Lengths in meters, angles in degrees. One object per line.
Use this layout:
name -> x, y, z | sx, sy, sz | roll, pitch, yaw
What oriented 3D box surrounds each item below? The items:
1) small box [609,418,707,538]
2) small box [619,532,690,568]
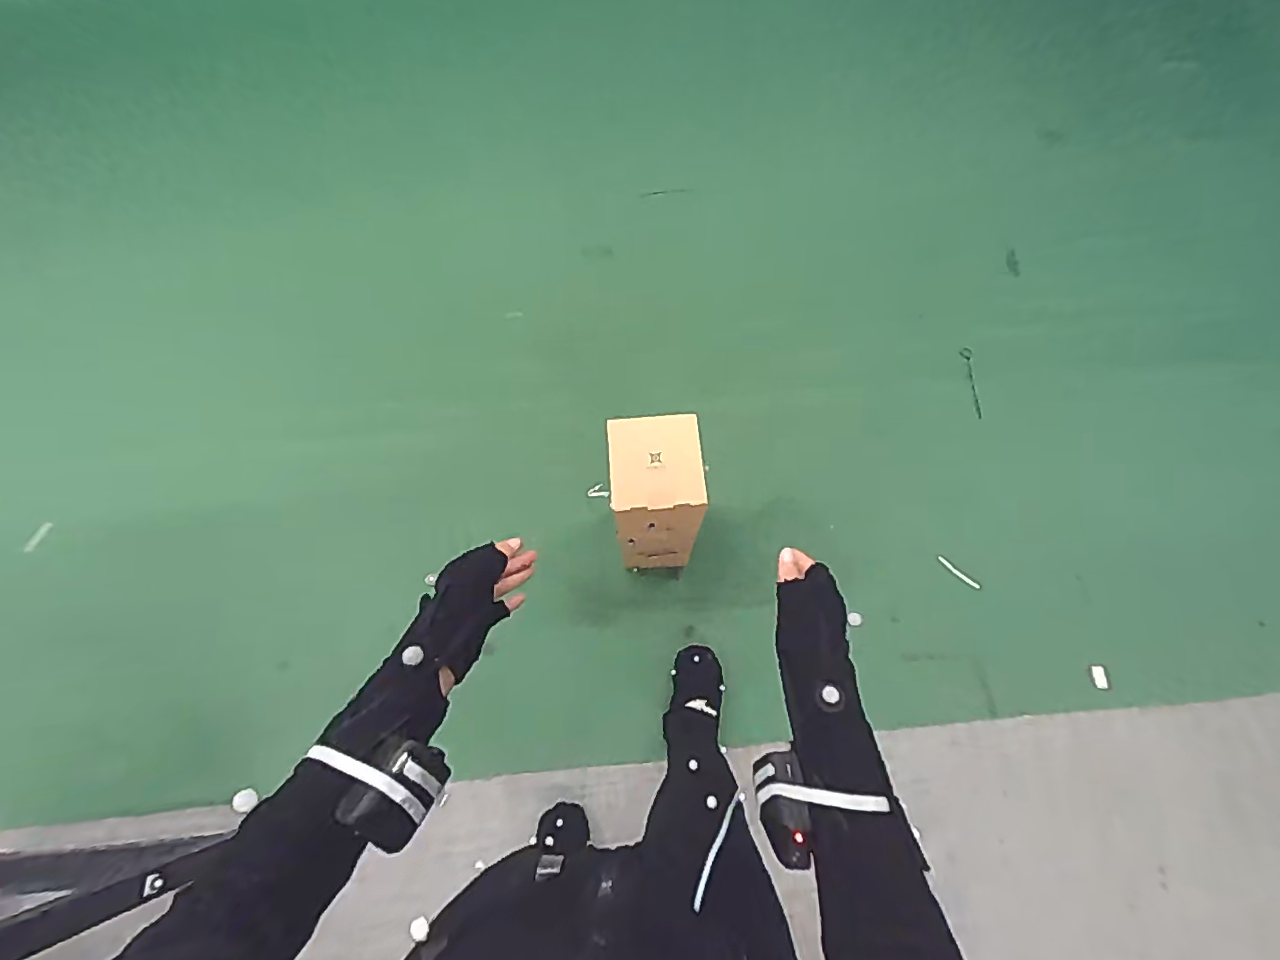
small box -> 0.028, 0.000, 1.031 | 0.168, 0.176, 0.179 | -5, 69, -2
small box -> 0.033, 0.120, 1.336 | 0.168, 0.176, 0.179 | -3, 69, -1
